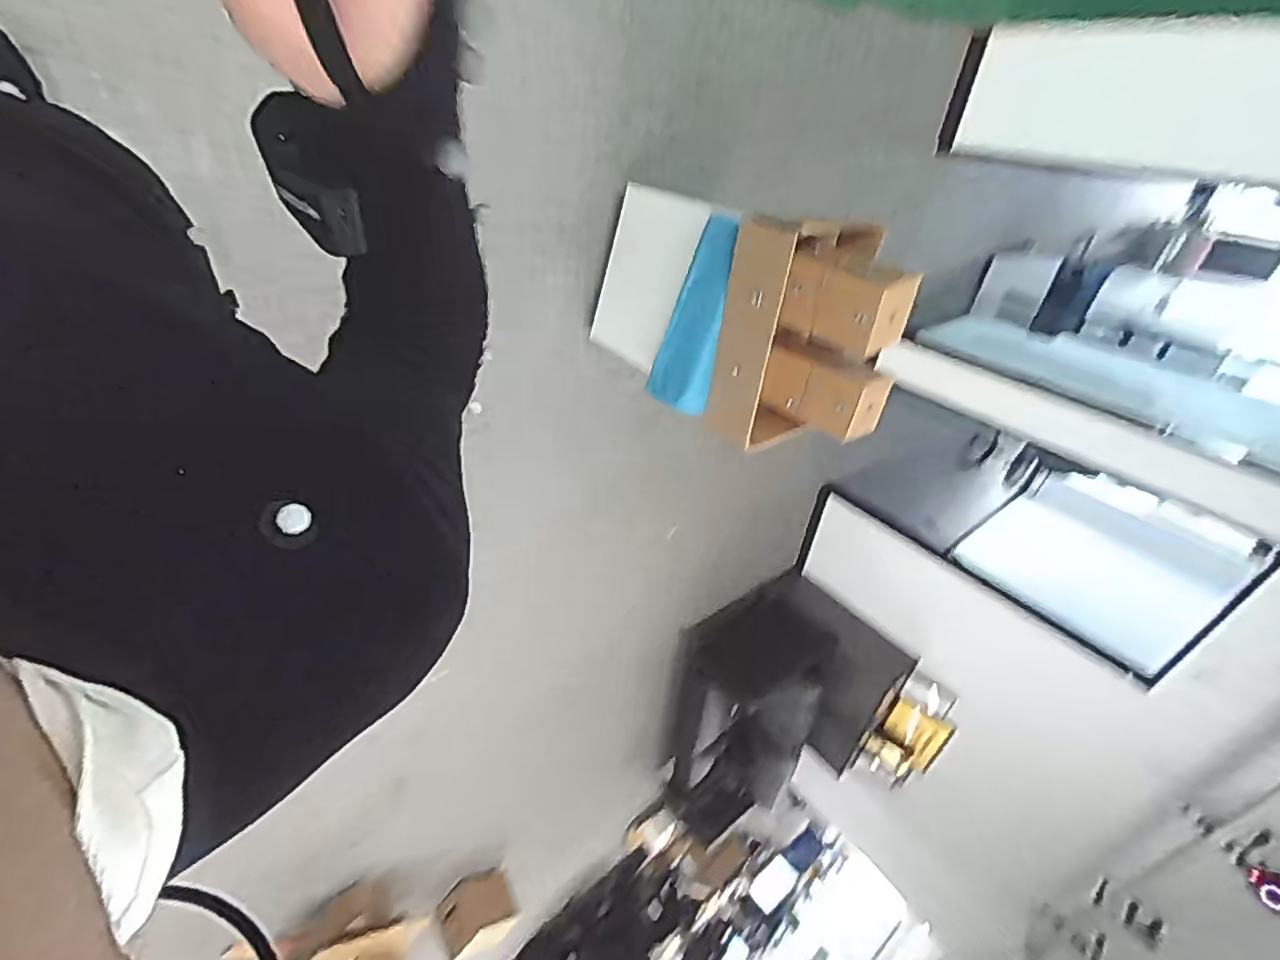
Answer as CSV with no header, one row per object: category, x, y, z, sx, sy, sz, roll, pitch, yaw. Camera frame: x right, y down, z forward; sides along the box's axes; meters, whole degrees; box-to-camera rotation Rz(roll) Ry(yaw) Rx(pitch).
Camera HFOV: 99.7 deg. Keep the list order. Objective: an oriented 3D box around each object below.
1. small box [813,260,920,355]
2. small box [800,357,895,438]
small box,0.563,-0.444,1.364,0.168,0.176,0.179,-26,136,-30
small box,0.587,-0.245,1.552,0.168,0.176,0.179,-18,131,-36
